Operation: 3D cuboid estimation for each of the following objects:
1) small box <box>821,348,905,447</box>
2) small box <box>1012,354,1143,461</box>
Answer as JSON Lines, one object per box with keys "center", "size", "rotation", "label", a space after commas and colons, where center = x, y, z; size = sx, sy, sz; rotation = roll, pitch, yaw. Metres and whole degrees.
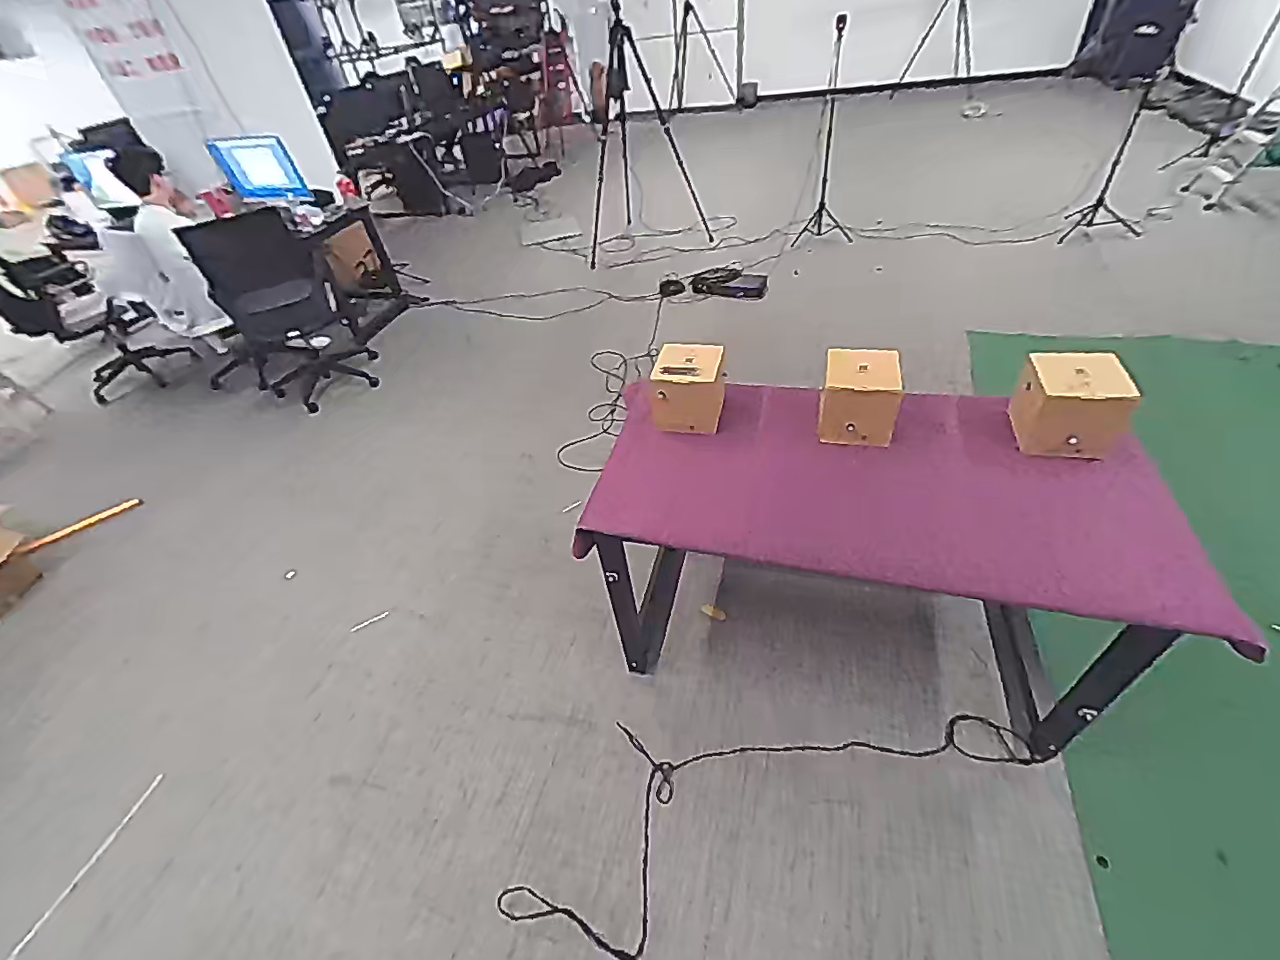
{"center": [0.544, -0.205, 1.336], "size": [0.168, 0.176, 0.179], "rotation": [6, 46, 15], "label": "small box"}
{"center": [0.968, -0.165, 1.218], "size": [0.168, 0.176, 0.179], "rotation": [5, 45, 18], "label": "small box"}
